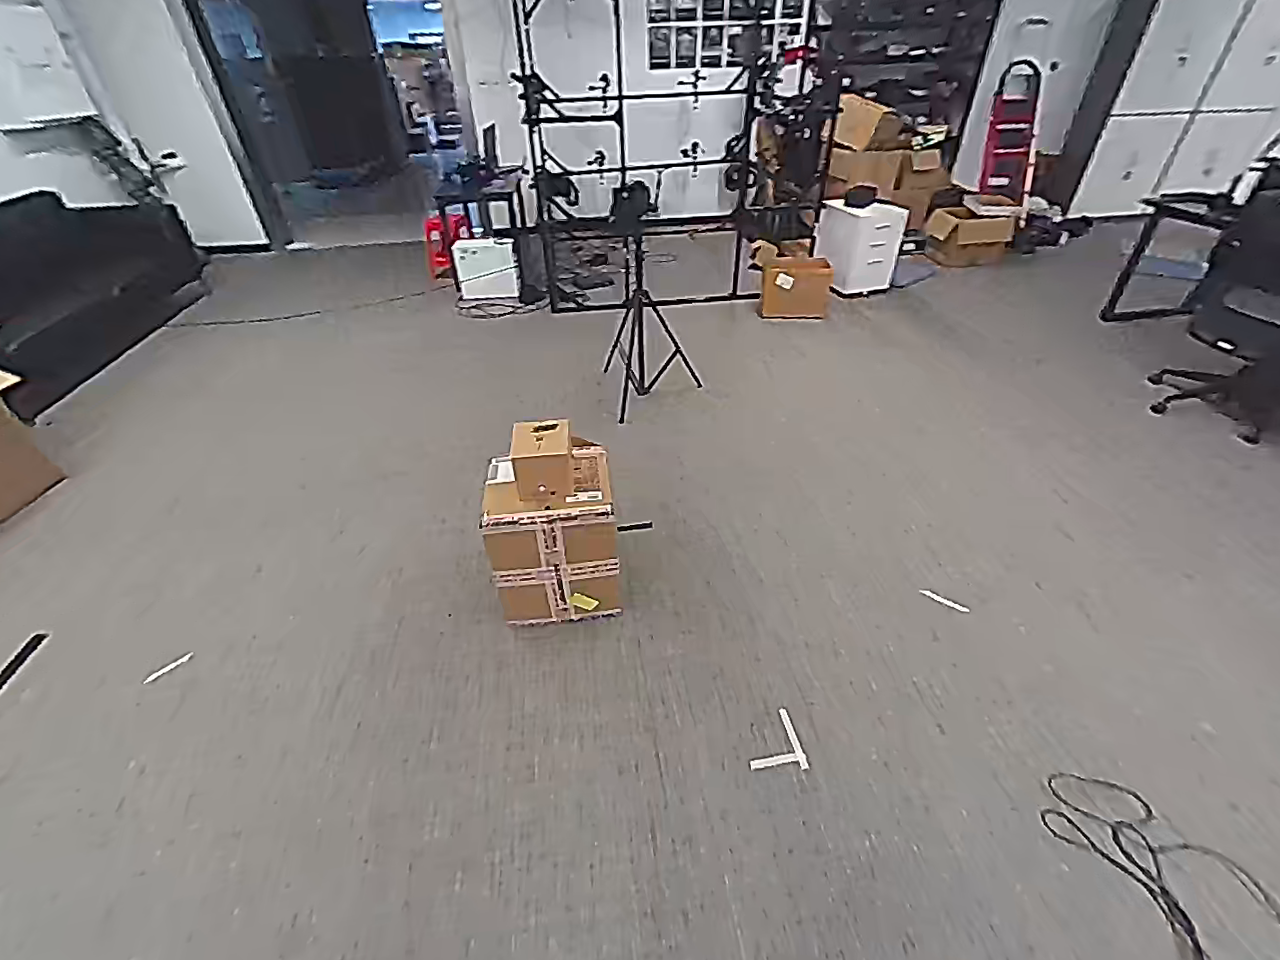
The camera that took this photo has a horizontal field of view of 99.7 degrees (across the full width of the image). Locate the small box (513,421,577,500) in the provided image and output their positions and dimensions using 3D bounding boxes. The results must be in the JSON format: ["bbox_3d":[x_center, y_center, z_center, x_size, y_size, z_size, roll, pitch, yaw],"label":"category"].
[{"bbox_3d":[-0.284,-0.059,1.643,0.168,0.176,0.179,-5,42,-3],"label":"small box"}]
